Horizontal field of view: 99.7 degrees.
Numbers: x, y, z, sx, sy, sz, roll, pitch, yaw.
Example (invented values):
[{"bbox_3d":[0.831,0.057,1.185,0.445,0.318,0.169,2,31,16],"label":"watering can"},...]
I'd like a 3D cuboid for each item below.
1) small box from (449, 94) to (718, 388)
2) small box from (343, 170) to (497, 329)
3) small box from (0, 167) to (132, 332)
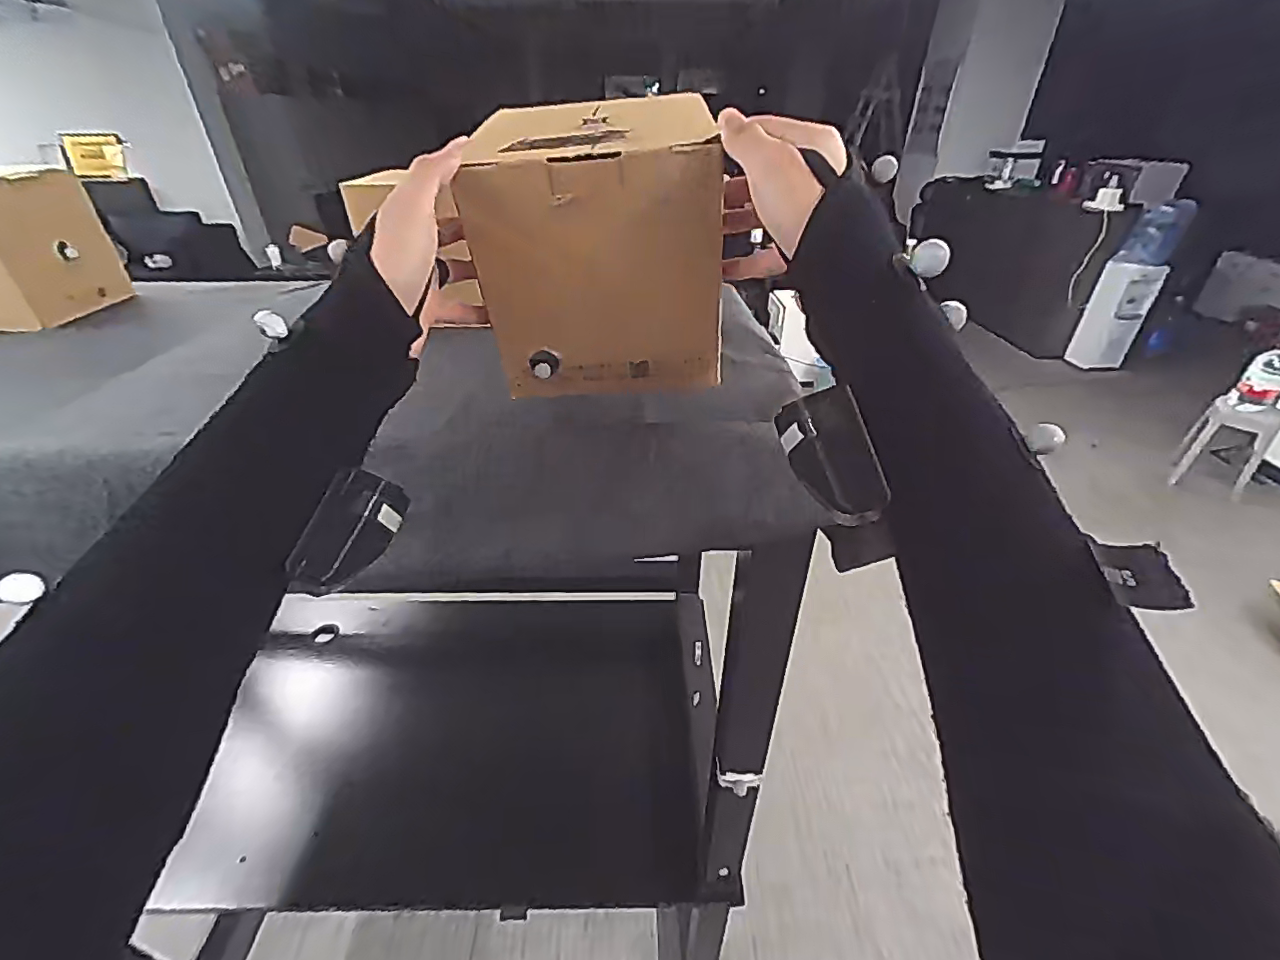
[{"bbox_3d":[-0.026,-0.184,0.430,0.168,0.176,0.179,-3,42,3],"label":"small box"},{"bbox_3d":[-0.251,-0.306,0.715,0.168,0.176,0.179,-1,34,-1],"label":"small box"},{"bbox_3d":[-0.828,-0.295,0.693,0.179,0.176,0.168,-1,34,-3],"label":"small box"}]
